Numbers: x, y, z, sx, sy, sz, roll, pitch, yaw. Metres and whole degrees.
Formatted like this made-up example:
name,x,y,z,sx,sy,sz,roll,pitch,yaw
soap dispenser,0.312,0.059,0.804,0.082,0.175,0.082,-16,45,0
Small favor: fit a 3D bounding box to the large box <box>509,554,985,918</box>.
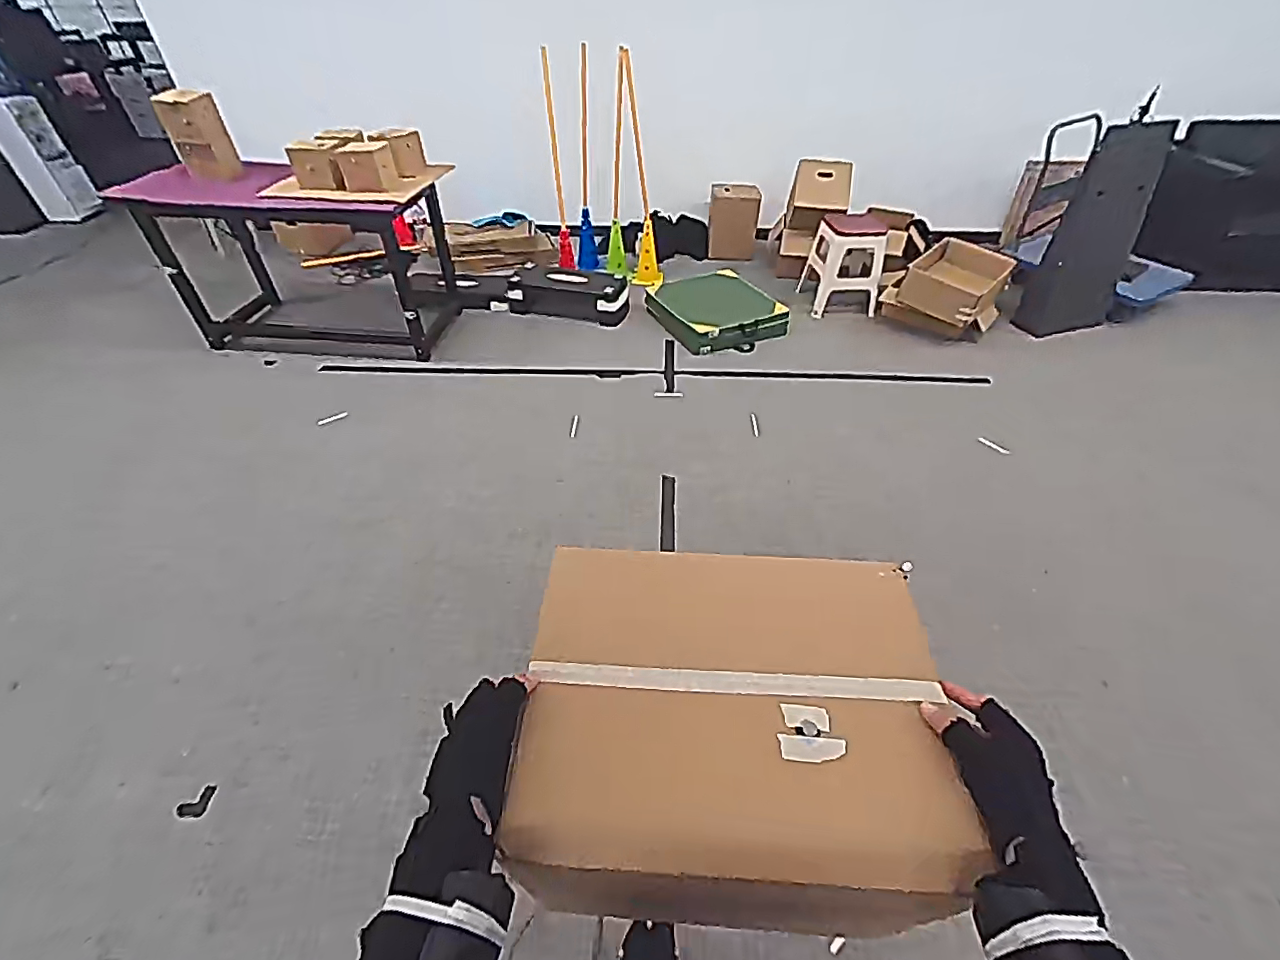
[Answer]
name,x,y,z,sx,sy,sz,roll,pitch,yaw
large box,0.092,0.309,0.655,0.408,0.320,0.320,2,46,3
